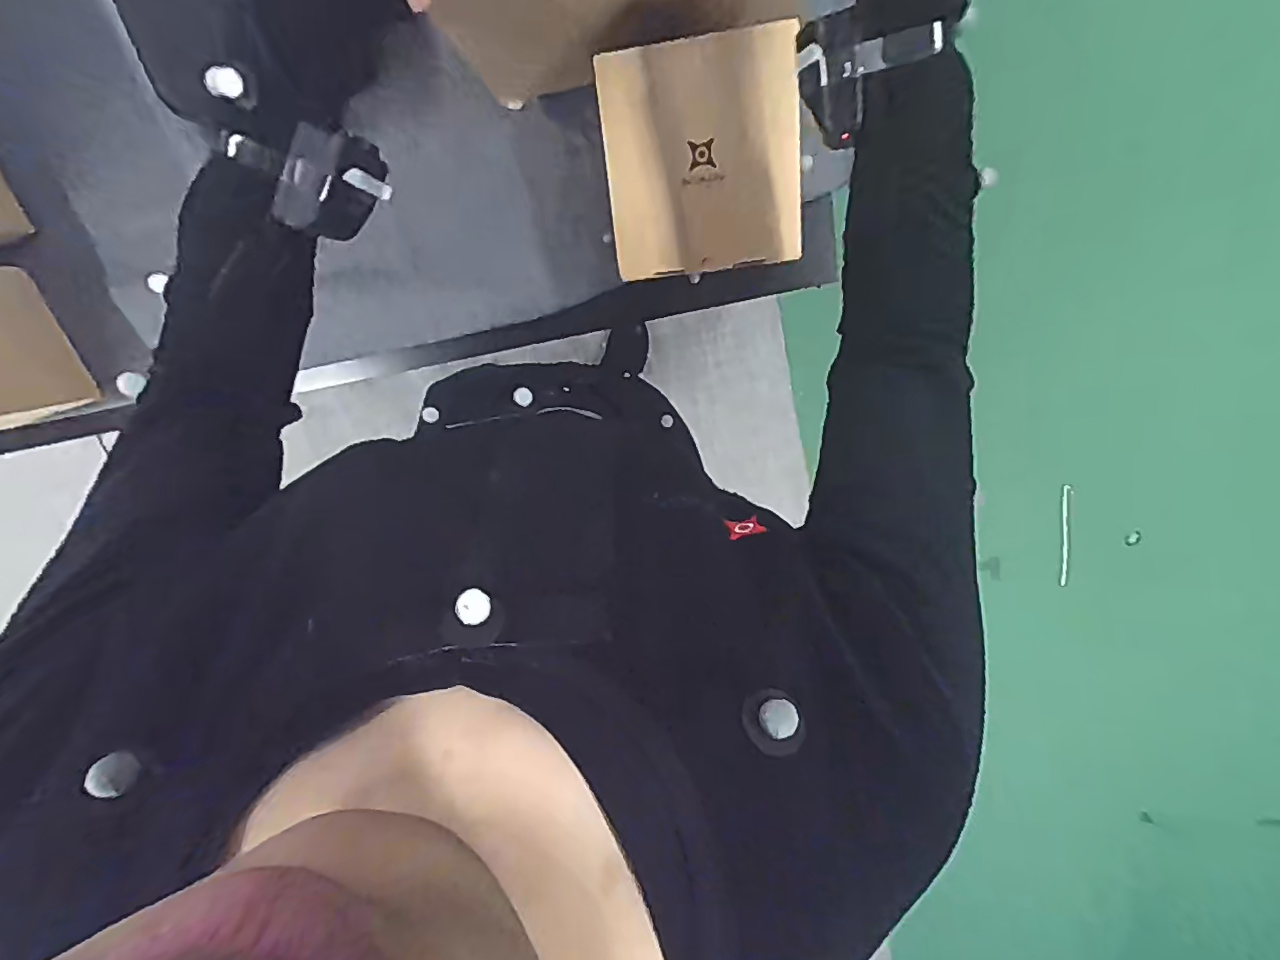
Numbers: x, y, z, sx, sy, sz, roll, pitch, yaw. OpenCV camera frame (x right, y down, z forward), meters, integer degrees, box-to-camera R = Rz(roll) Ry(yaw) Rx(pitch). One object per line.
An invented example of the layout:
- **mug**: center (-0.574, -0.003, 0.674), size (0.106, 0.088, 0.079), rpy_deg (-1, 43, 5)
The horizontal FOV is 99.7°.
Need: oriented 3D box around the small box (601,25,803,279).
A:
- **small box**: center (0.062, -0.301, 0.536), size (0.168, 0.176, 0.179), rpy_deg (-5, 112, 7)
